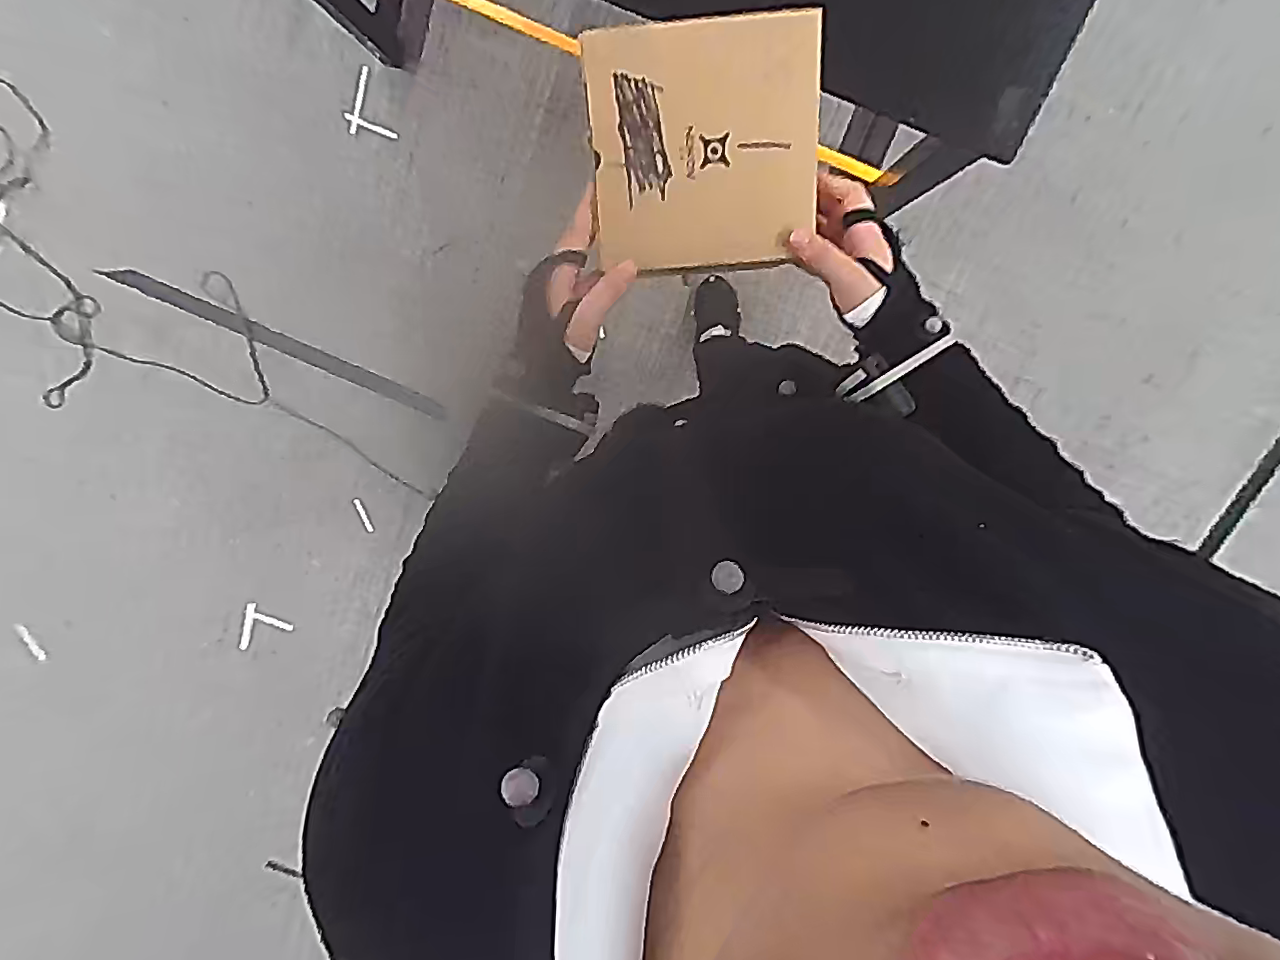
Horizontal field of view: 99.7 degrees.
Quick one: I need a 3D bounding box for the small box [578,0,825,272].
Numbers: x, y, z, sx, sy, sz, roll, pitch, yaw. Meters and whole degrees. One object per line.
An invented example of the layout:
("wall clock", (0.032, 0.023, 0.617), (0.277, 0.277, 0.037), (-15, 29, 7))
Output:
("small box", (0.049, -0.280, 0.478), (0.179, 0.176, 0.168), (-4, 108, 2))
